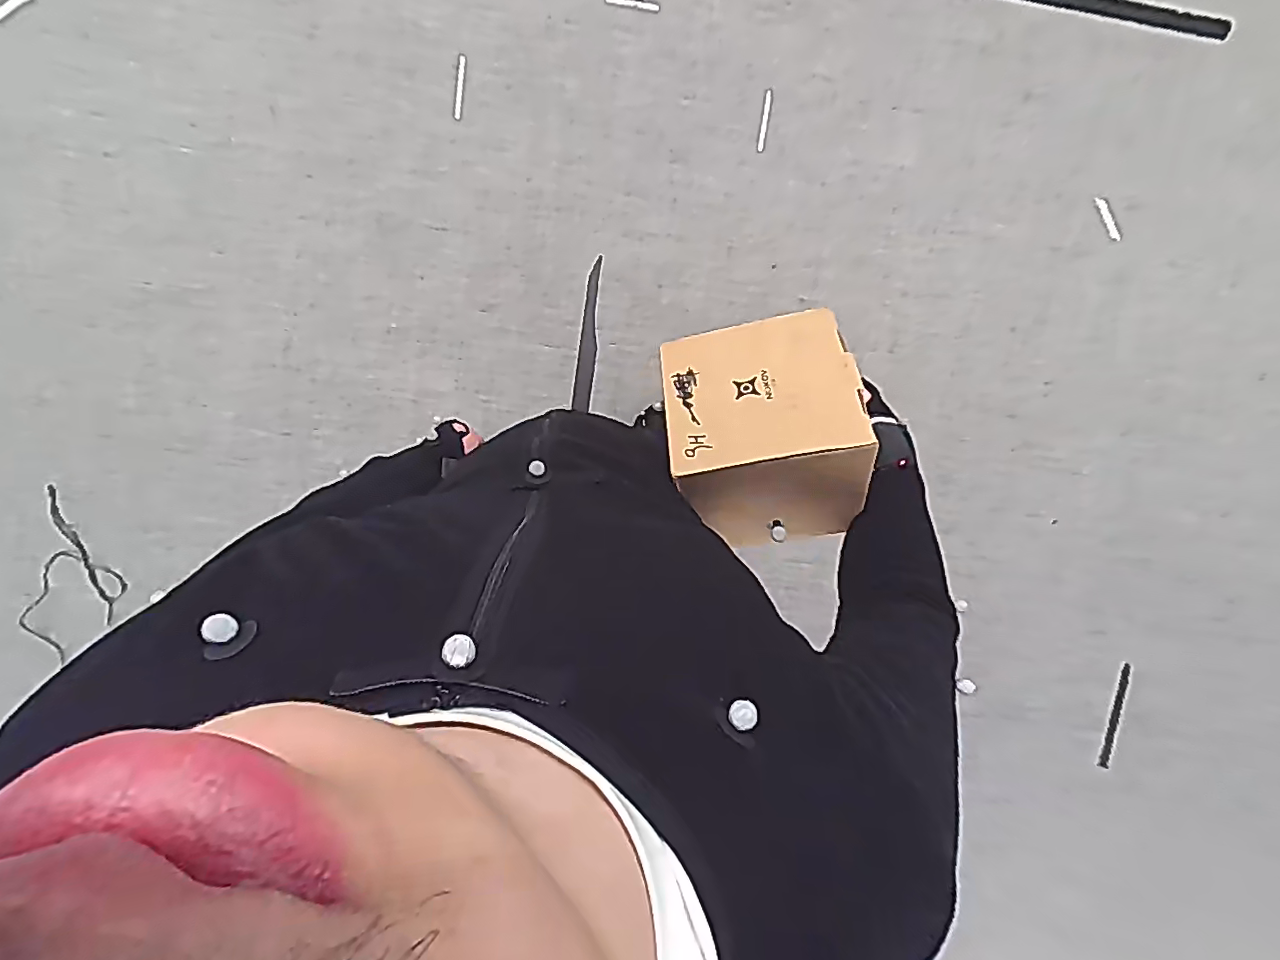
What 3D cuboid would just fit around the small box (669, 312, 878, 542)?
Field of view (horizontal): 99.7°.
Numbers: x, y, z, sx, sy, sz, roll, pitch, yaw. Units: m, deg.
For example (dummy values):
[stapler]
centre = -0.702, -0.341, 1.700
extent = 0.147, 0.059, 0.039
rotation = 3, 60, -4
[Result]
[small box]
centre = 0.134, -0.047, 0.583
extent = 0.179, 0.176, 0.168
rotation = -9, 57, 10
